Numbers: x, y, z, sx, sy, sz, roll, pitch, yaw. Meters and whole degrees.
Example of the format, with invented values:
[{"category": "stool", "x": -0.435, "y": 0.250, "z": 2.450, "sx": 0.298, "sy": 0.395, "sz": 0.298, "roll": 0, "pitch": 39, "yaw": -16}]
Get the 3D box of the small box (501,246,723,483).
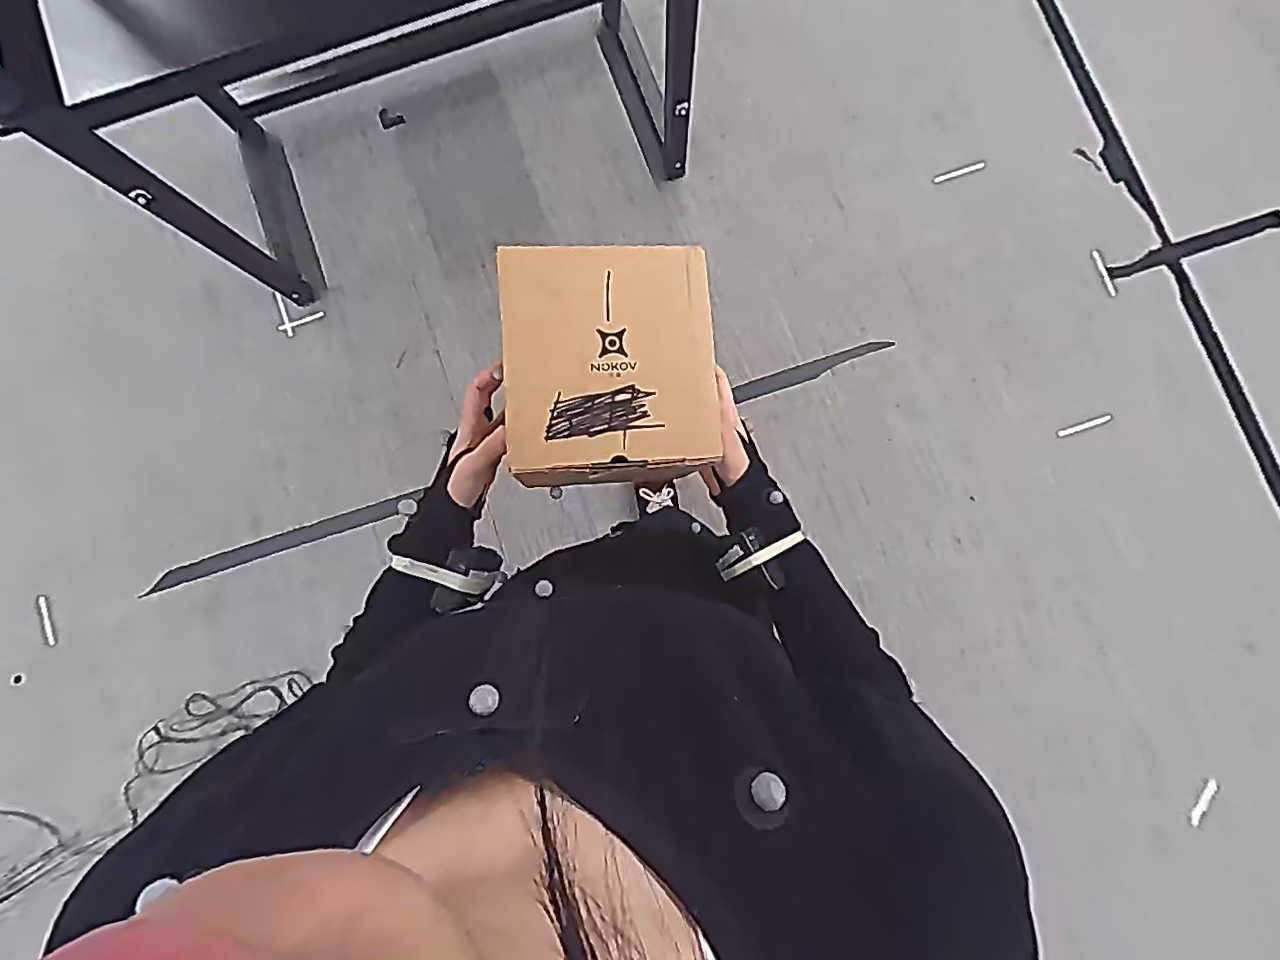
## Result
[{"category": "small box", "x": -0.031, "y": -0.090, "z": 0.494, "sx": 0.168, "sy": 0.176, "sz": 0.179, "roll": -4, "pitch": 85, "yaw": -9}]
